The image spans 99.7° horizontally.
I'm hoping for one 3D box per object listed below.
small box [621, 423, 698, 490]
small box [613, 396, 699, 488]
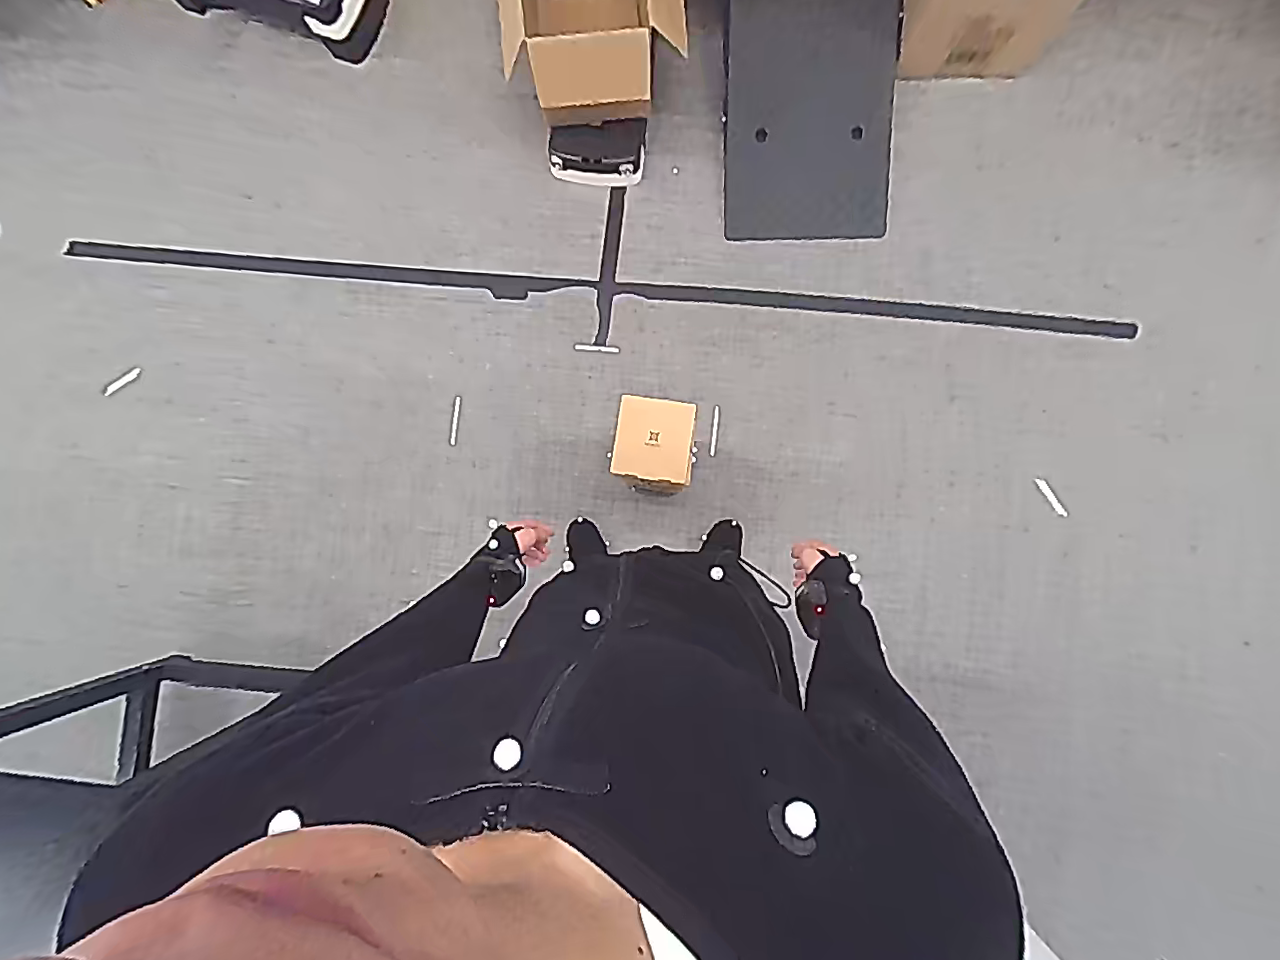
[{"bbox_3d":[0.048,-0.065,1.396,0.179,0.176,0.168,6,88,1],"label":"small box"},{"bbox_3d":[0.034,-0.080,1.234,0.168,0.176,0.179,8,88,2],"label":"small box"}]
